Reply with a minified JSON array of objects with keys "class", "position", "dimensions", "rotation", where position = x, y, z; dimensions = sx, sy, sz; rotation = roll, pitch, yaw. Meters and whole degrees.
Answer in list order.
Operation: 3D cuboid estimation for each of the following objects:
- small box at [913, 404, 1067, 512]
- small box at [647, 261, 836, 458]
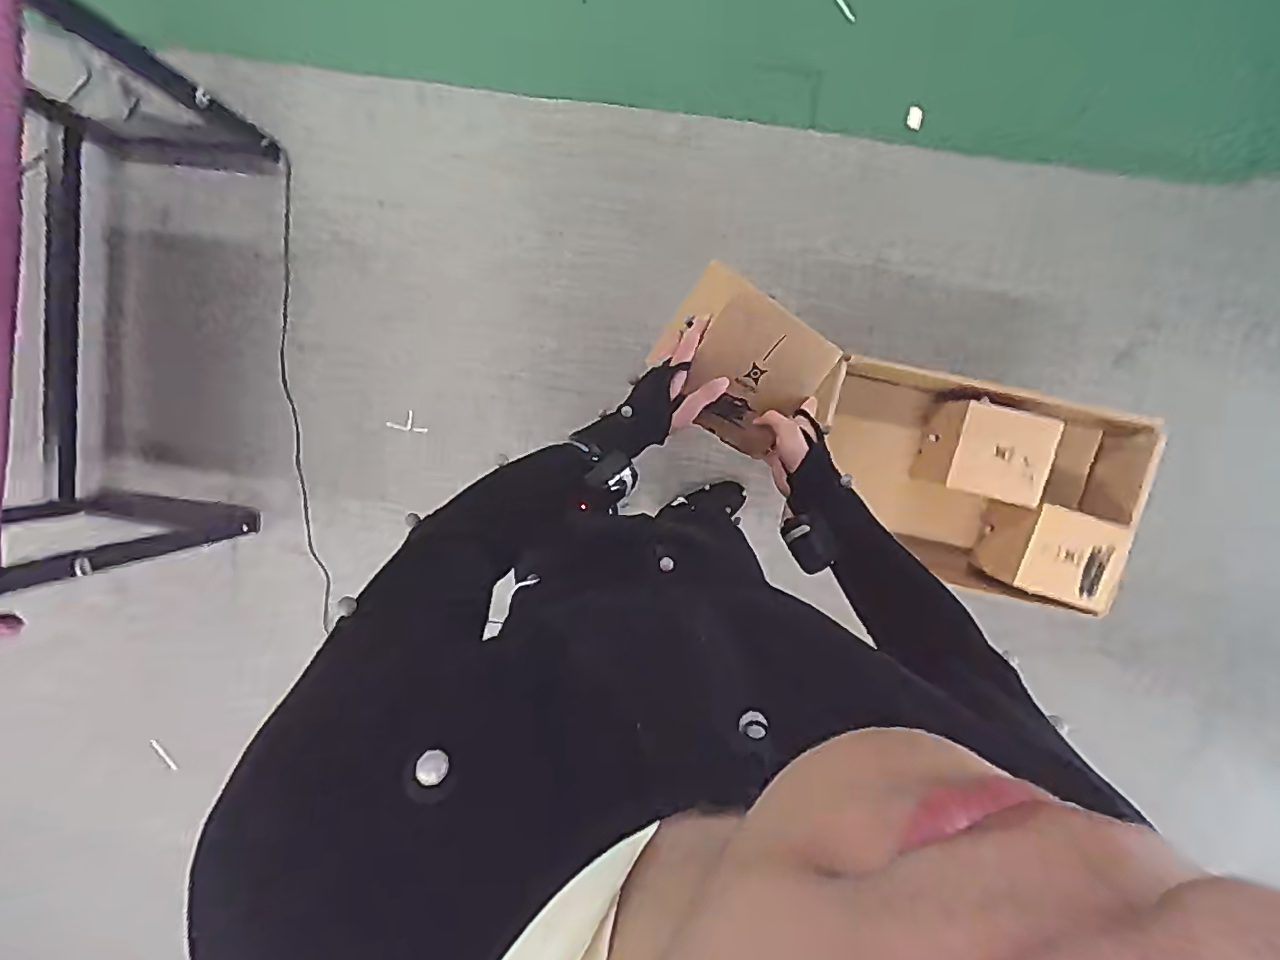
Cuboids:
[{"class":"small box","position":[0.677,-0.047,1.070],"dimensions":[0.179,0.176,0.168],"rotation":[15,97,2]},{"class":"small box","position":[0.122,-0.167,0.732],"dimensions":[0.168,0.176,0.179],"rotation":[26,114,-21]}]
